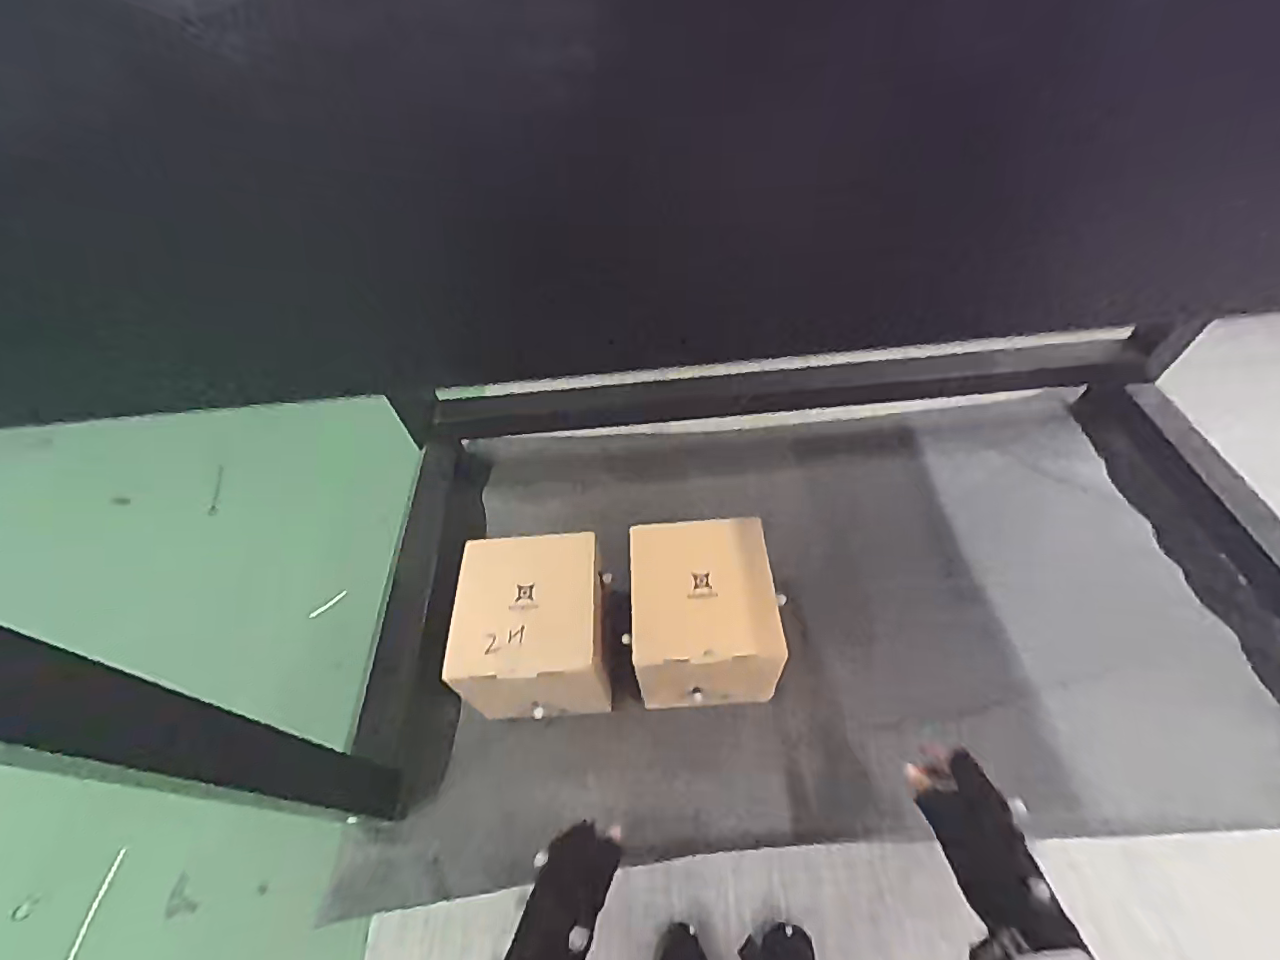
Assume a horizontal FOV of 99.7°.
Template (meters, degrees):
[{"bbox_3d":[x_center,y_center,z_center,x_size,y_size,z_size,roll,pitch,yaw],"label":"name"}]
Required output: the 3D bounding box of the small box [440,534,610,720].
[{"bbox_3d":[-0.130,0.190,0.690,0.168,0.176,0.179,-4,52,3],"label":"small box"}]
